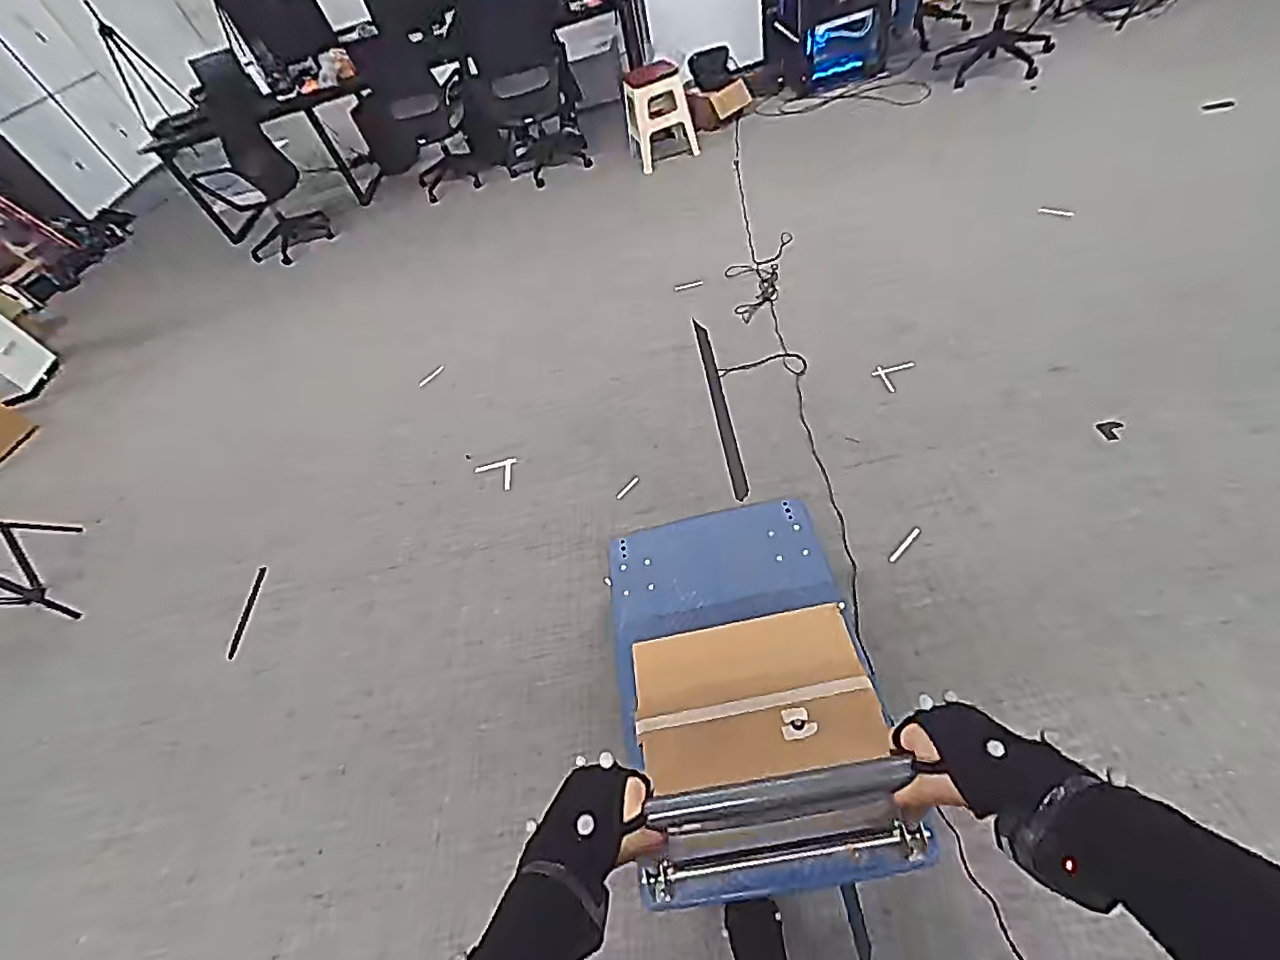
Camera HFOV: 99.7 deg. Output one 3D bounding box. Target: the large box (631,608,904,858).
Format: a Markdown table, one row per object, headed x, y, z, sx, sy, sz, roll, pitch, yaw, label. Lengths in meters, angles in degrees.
| x | y | z | sx | sy | sz | roll | pitch | yaw | label |
| --- | --- | --- | --- | --- | --- | --- | --- | --- | --- |
| 0.223 | 0.494 | 1.042 | 0.408 | 0.320 | 0.320 | -13 | 49 | 5 | large box |
